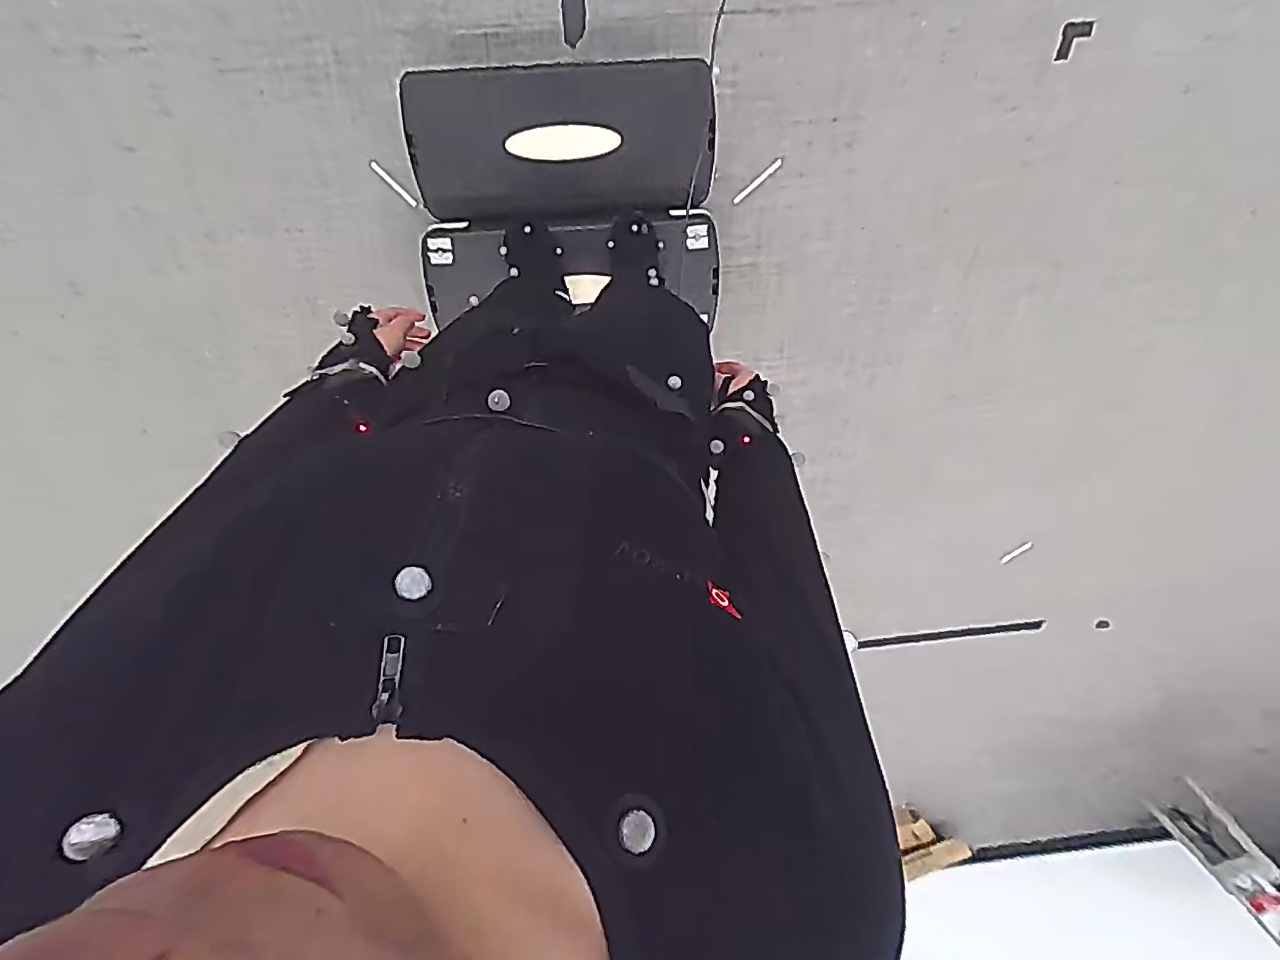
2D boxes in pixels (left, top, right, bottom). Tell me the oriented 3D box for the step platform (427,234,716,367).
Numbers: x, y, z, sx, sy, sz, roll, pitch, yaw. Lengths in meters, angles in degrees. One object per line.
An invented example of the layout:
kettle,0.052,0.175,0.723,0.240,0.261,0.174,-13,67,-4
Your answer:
step platform,-0.156,-0.435,1.327,0.684,0.204,0.286,0,119,-4
